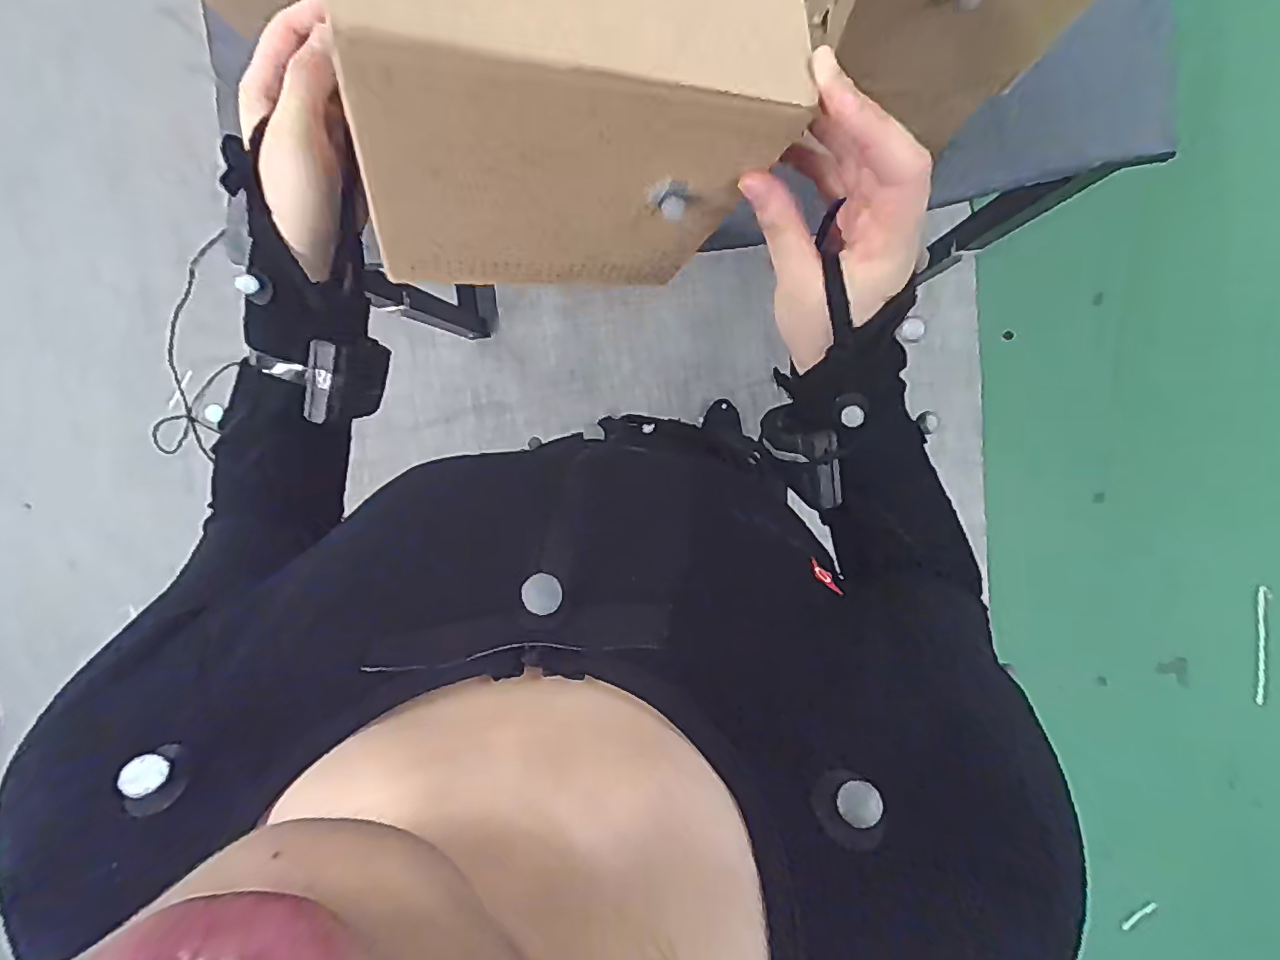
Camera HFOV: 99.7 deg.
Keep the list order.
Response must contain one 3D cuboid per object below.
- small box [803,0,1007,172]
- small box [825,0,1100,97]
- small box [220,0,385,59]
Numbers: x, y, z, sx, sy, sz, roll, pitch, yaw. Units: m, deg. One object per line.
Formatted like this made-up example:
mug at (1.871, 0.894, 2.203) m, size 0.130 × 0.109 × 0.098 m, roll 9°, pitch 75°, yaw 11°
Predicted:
small box at (0.279, -0.473, 0.591) m, size 0.168 × 0.176 × 0.179 m, roll -4°, pitch 96°, yaw 7°
small box at (0.265, -0.441, 0.432) m, size 0.179 × 0.176 × 0.168 m, roll 7°, pitch 96°, yaw 6°
small box at (-0.432, -0.653, 0.636) m, size 0.168 × 0.176 × 0.179 m, roll -8°, pitch 96°, yaw 6°
